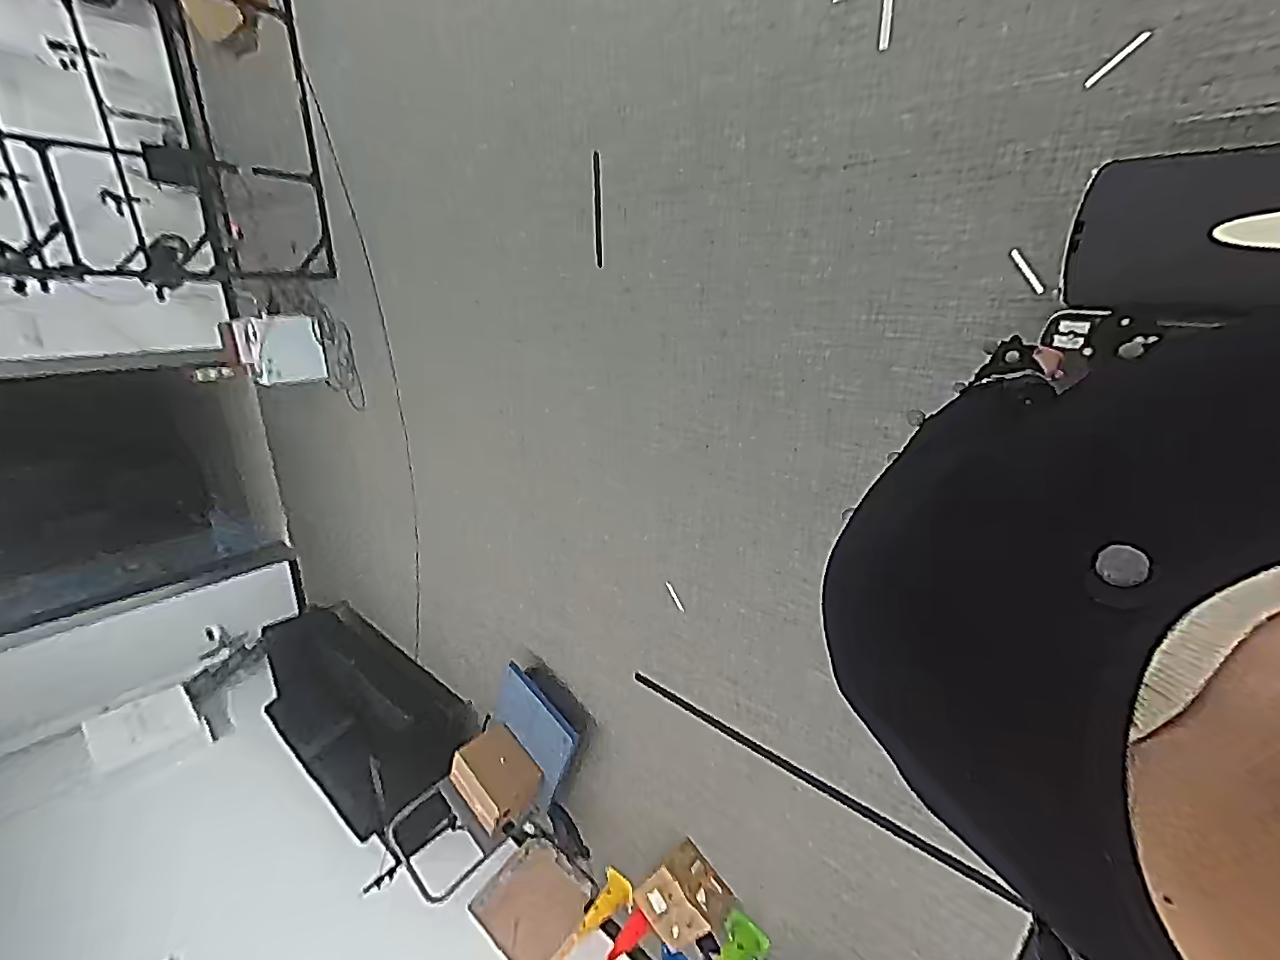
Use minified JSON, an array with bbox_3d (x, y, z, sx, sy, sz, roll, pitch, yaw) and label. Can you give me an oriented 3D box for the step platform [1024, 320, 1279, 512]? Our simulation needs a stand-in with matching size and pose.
[{"bbox_3d":[1.133,-0.110,0.997,0.684,0.204,0.286,23,117,38],"label":"step platform"}]
